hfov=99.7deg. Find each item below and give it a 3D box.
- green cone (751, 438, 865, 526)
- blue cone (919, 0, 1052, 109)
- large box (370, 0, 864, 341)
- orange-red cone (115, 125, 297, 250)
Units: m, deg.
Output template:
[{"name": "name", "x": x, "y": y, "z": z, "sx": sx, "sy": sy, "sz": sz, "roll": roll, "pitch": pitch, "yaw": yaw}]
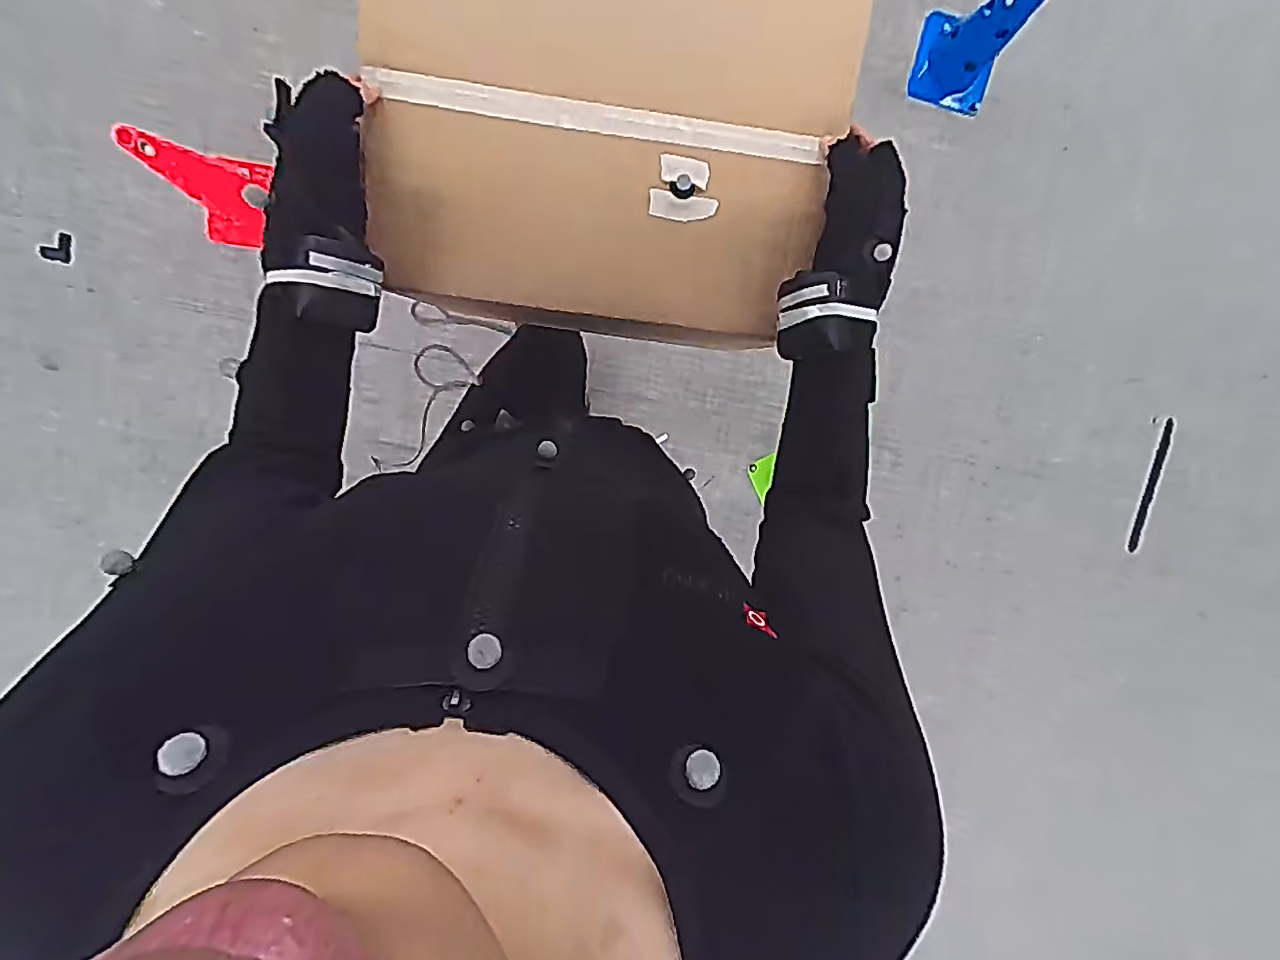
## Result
[{"name": "green cone", "x": 0.440, "y": 0.032, "z": 1.320, "sx": 0.202, "sy": 0.368, "sz": 0.200, "roll": -26, "pitch": 100, "yaw": -1}, {"name": "blue cone", "x": 0.817, "y": -1.029, "z": 1.200, "sx": 0.192, "sy": 0.380, "sz": 0.193, "roll": 14, "pitch": 98, "yaw": -6}, {"name": "large box", "x": -0.033, "y": -0.340, "z": 0.602, "sx": 0.408, "sy": 0.320, "sz": 0.320, "roll": 6, "pitch": 102, "yaw": -5}, {"name": "orange-red cone", "x": -0.930, "y": -0.644, "z": 1.144, "sx": 0.198, "sy": 0.360, "sz": 0.199, "roll": 9, "pitch": 99, "yaw": -4}]
